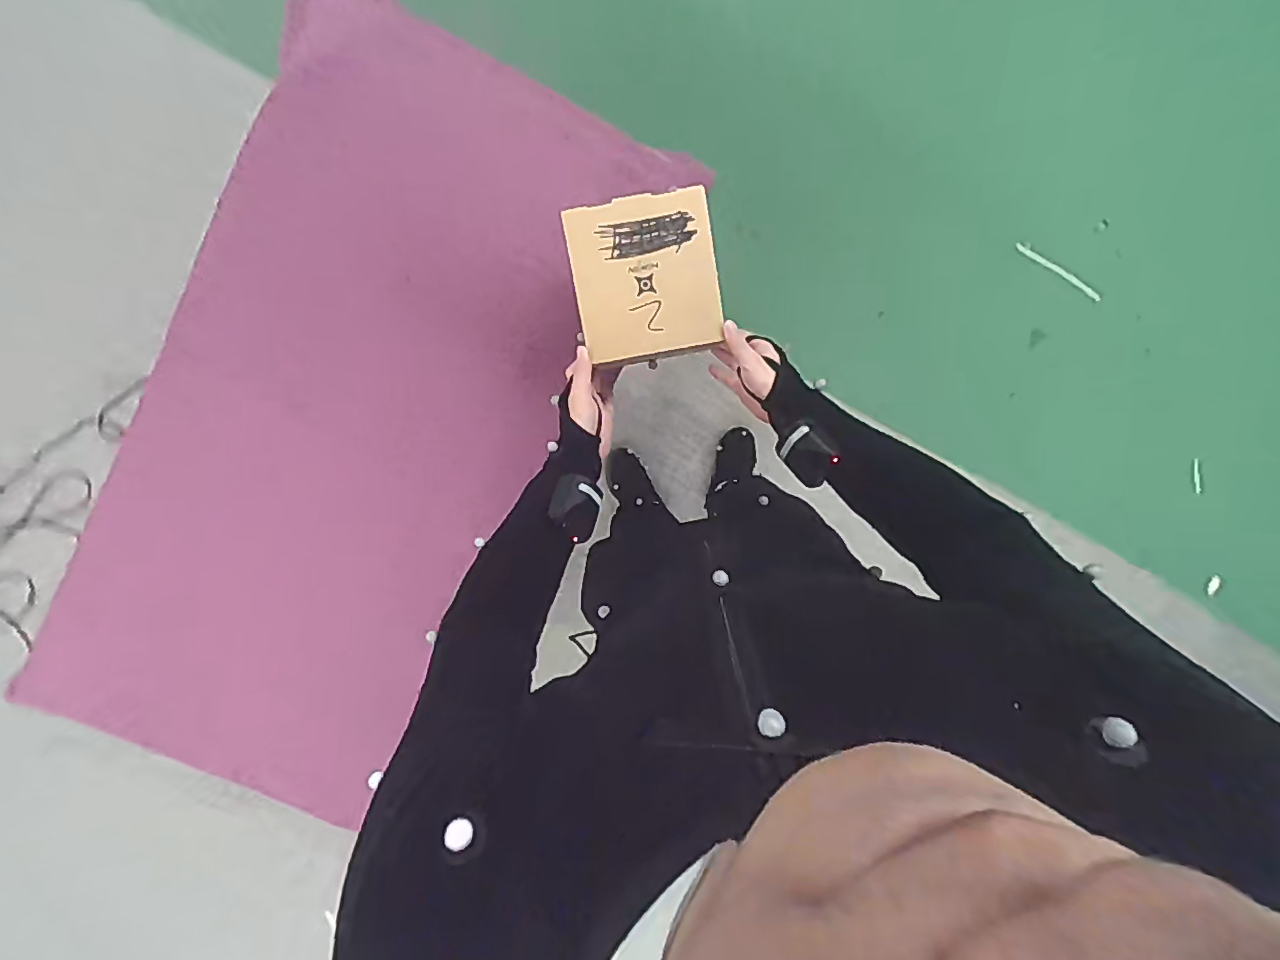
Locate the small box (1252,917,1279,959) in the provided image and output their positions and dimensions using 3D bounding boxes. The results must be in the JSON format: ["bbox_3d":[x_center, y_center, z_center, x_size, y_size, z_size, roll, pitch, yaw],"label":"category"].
[{"bbox_3d":[1.715,1.239,1.349,0.179,0.176,0.168,21,93,-7],"label":"small box"}]
